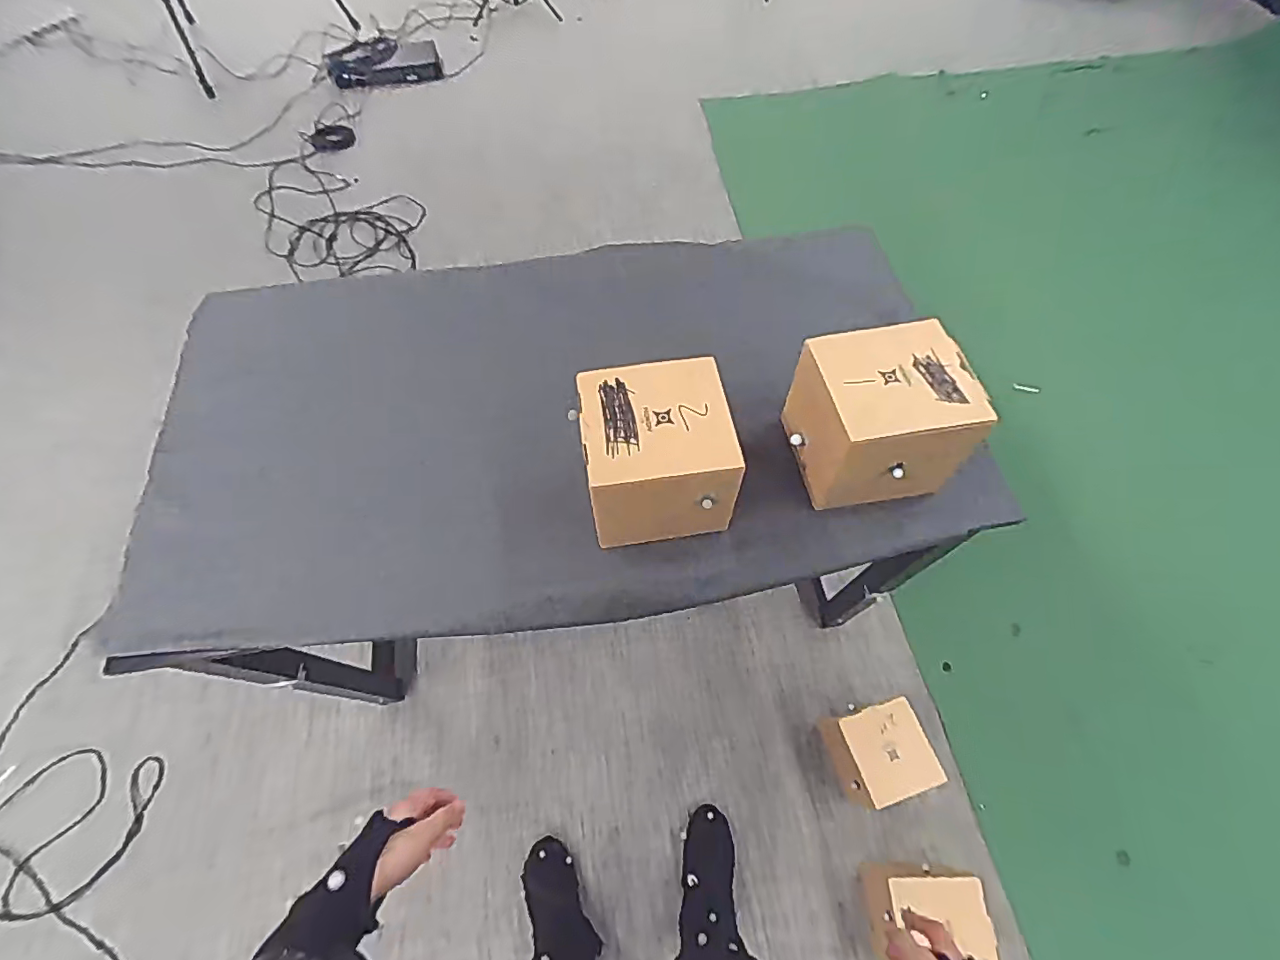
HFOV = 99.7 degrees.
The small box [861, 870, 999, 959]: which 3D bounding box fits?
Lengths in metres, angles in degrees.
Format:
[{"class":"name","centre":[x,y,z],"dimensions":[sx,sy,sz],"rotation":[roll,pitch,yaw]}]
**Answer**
[{"class":"small box","centre":[0.555,0.870,1.047],"dimensions":[0.179,0.176,0.168],"rotation":[-1,64,1]}]

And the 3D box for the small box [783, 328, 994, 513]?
[{"class":"small box","centre":[0.307,-0.072,0.712],"dimensions":[0.179,0.176,0.168],"rotation":[-9,59,-2]}]

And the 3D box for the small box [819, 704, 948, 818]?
[{"class":"small box","centre":[0.520,0.609,1.182],"dimensions":[0.168,0.176,0.179],"rotation":[-16,64,-7]}]
